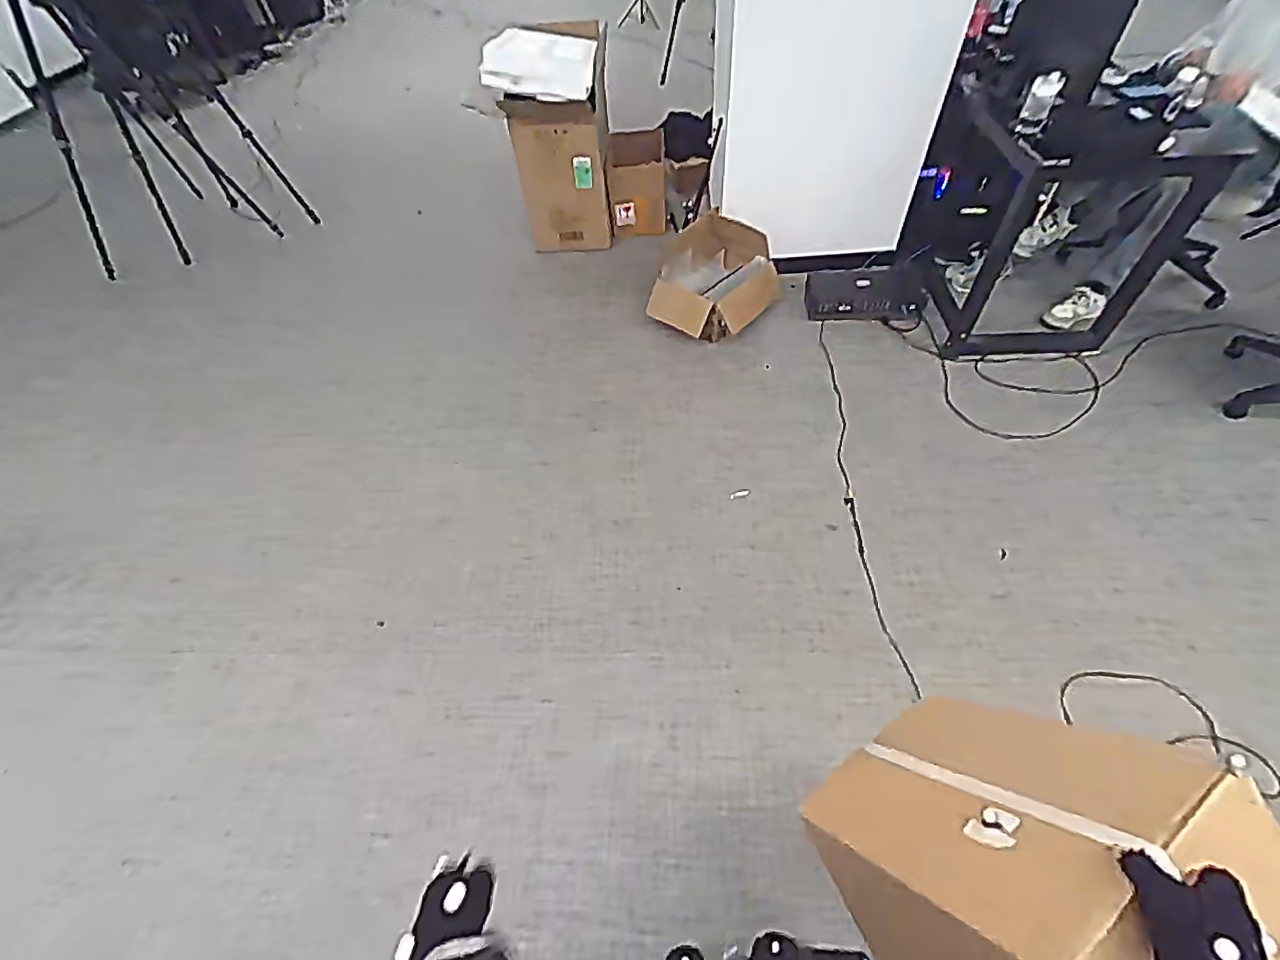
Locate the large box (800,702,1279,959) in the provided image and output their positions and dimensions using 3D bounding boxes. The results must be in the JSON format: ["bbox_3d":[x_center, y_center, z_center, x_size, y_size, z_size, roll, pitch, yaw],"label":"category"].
[{"bbox_3d":[0.489,0.530,0.675,0.320,0.408,0.320,-26,87,-20],"label":"large box"}]
